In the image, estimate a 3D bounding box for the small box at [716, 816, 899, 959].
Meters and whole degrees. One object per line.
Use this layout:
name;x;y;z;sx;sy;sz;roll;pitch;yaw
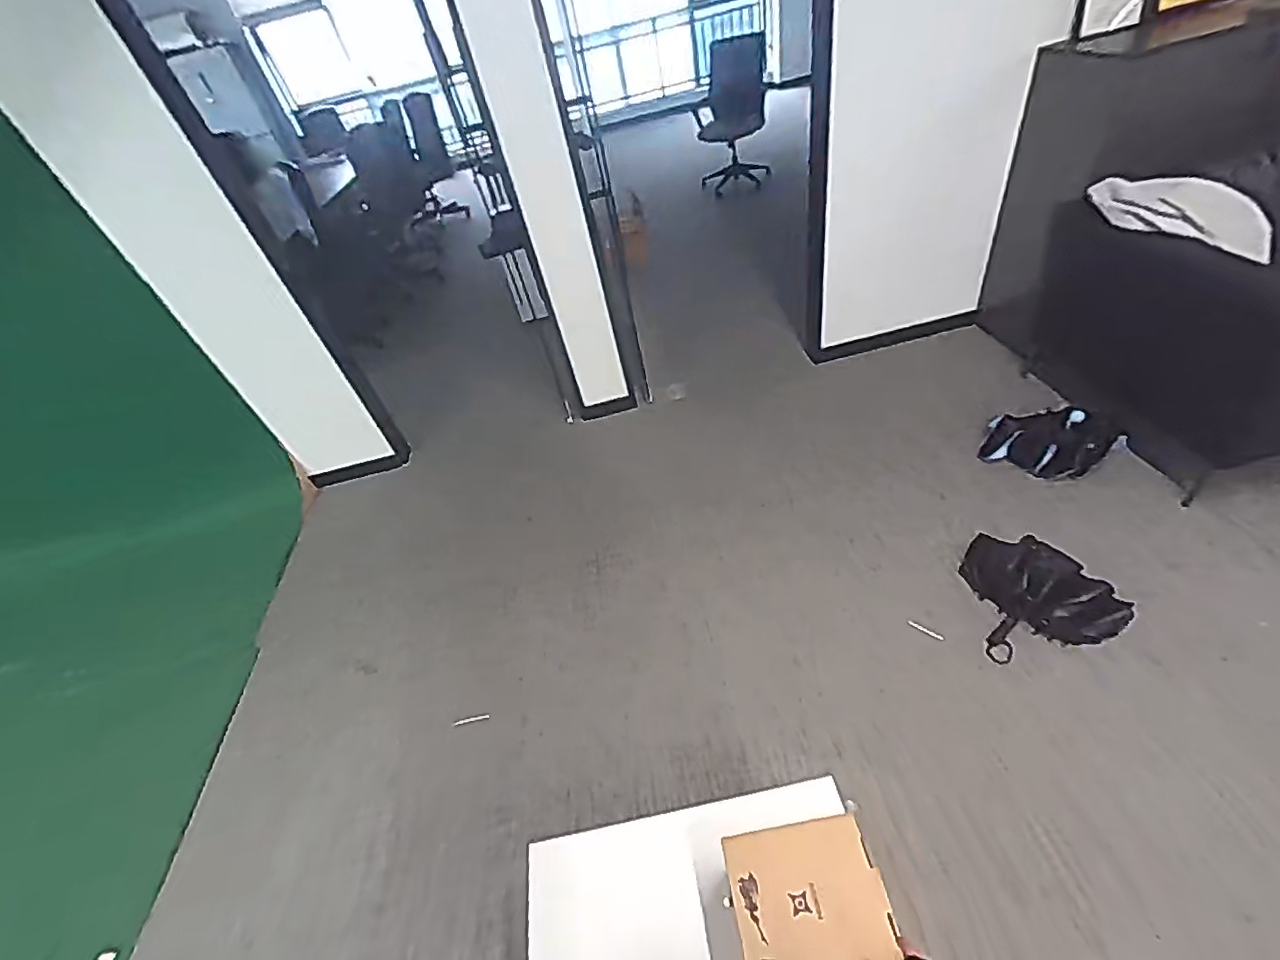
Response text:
small box;0.198;0.550;0.681;0.179;0.176;0.168;-10;42;1
